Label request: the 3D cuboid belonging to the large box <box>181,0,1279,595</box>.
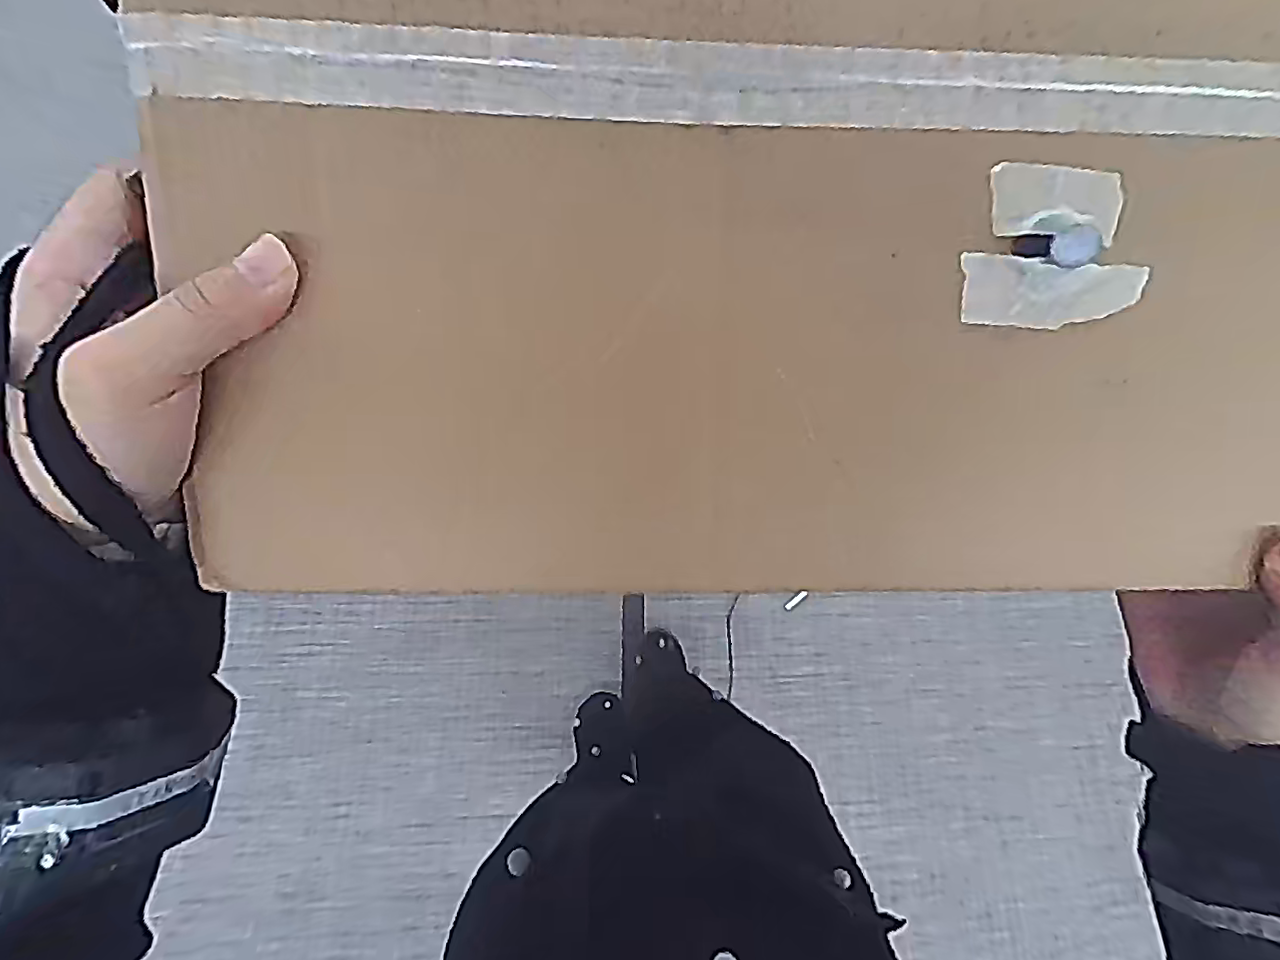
[{"bbox_3d":[0.050,-0.136,0.323,0.408,0.320,0.320,0,99,-4],"label":"large box"}]
